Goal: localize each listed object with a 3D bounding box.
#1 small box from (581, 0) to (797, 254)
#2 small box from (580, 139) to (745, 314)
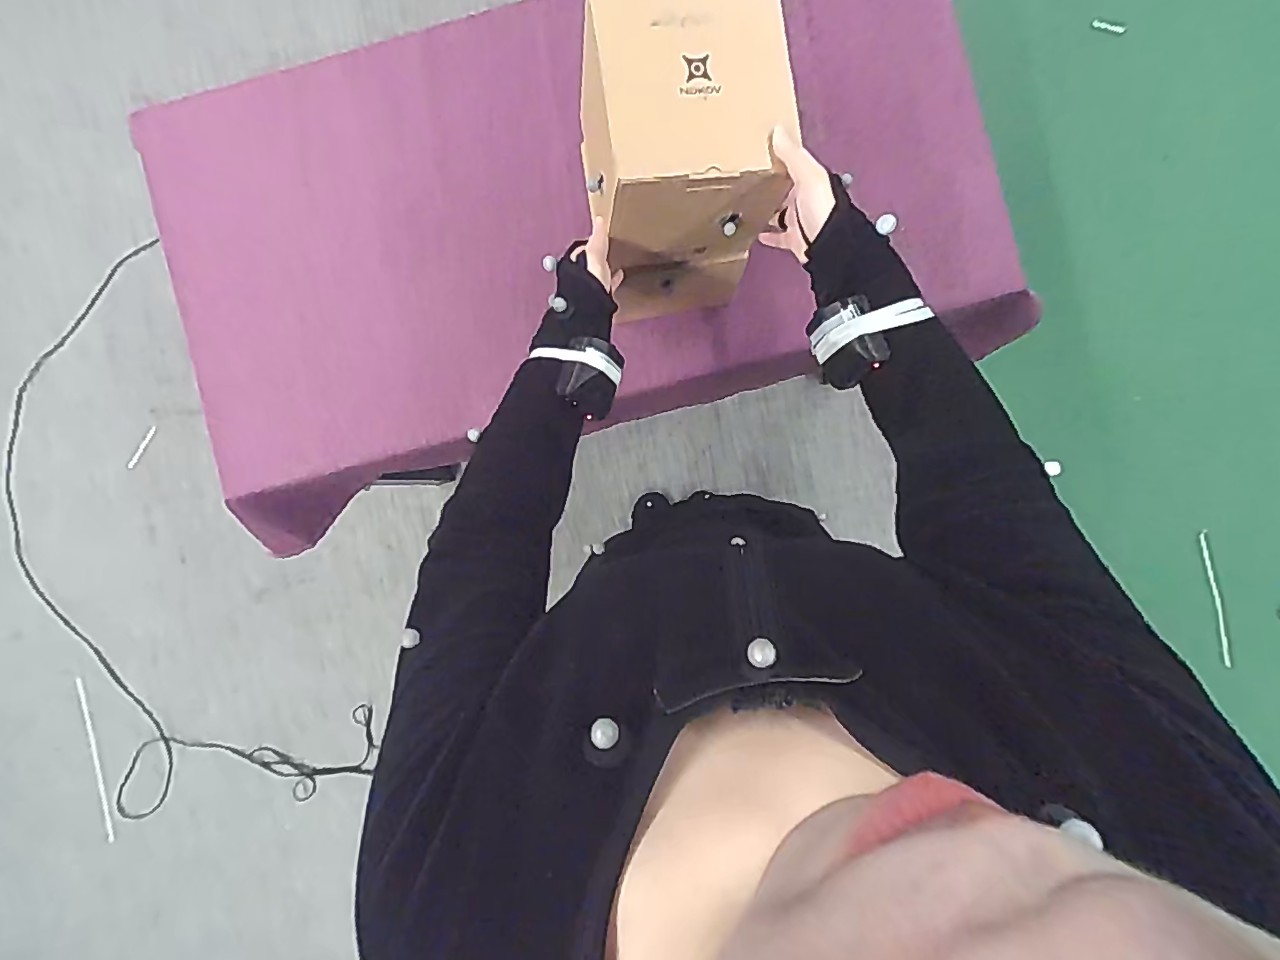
[{"bbox_3d":[0.035,-0.338,0.530,0.168,0.176,0.179,-8,89,-7],"label":"small box"},{"bbox_3d":[0.030,-0.329,0.704,0.179,0.176,0.168,-8,90,3],"label":"small box"}]
